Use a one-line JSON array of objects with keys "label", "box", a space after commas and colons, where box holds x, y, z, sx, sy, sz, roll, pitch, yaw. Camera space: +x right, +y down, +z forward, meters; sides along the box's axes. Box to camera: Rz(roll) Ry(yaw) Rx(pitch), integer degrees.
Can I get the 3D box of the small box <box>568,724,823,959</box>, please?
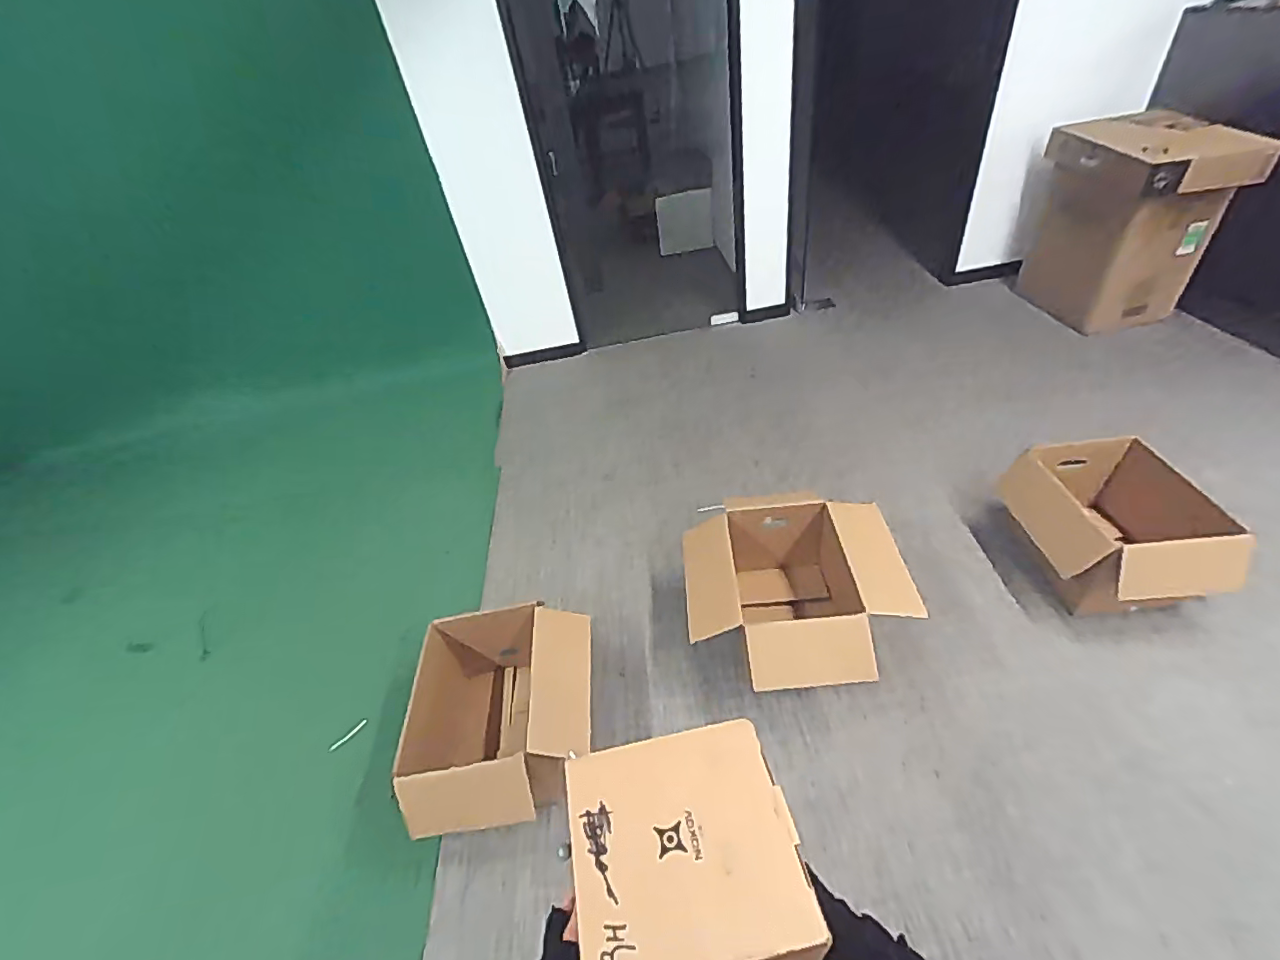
[{"label": "small box", "box": [0.036, 0.350, 0.482, 0.179, 0.176, 0.168, -8, 37, -6]}]
